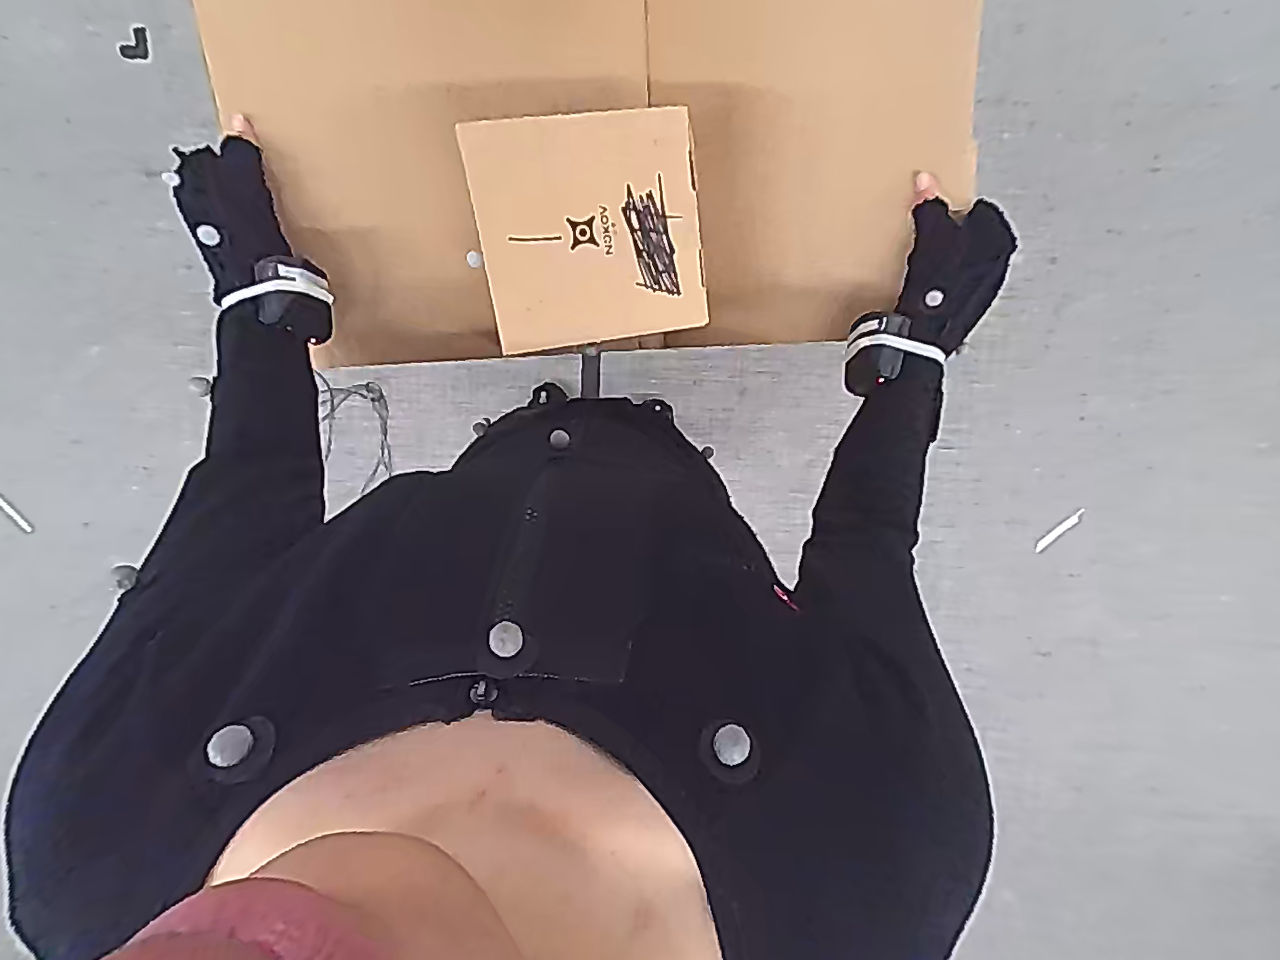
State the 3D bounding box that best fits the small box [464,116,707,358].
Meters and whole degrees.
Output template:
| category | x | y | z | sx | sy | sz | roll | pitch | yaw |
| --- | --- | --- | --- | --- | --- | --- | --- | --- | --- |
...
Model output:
| category | x | y | z | sx | sy | sz | roll | pitch | yaw |
| --- | --- | --- | --- | --- | --- | --- | --- | --- | --- |
| small box | -0.053 | -0.212 | 0.502 | 0.179 | 0.176 | 0.168 | -11 | 107 | -9 |
